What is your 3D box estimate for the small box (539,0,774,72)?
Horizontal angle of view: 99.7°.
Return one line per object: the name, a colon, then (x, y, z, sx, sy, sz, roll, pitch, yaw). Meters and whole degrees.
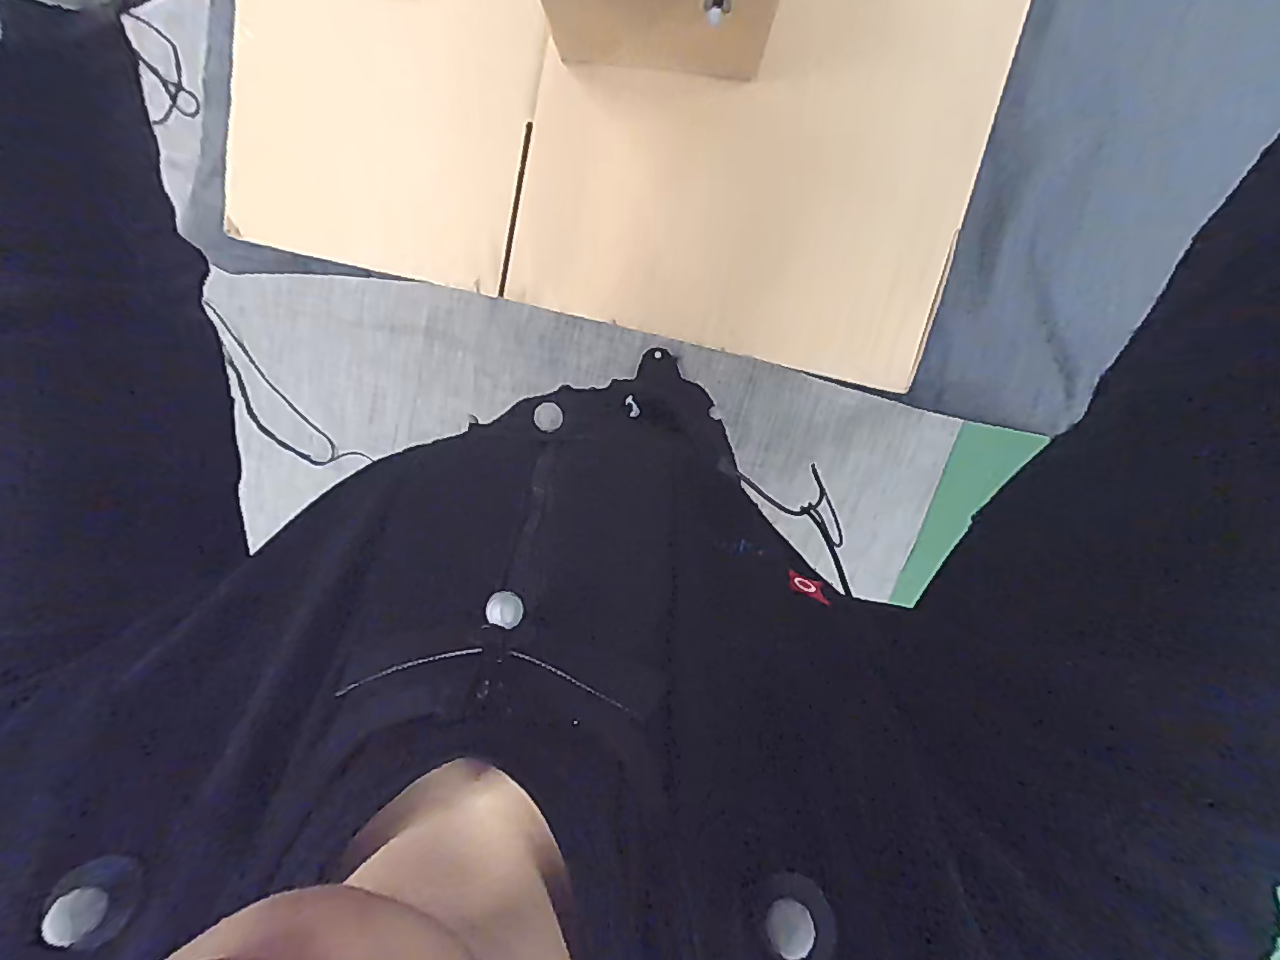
small box: (0.018, -0.418, 0.370, 0.179, 0.176, 0.168, 6, 99, 2)
